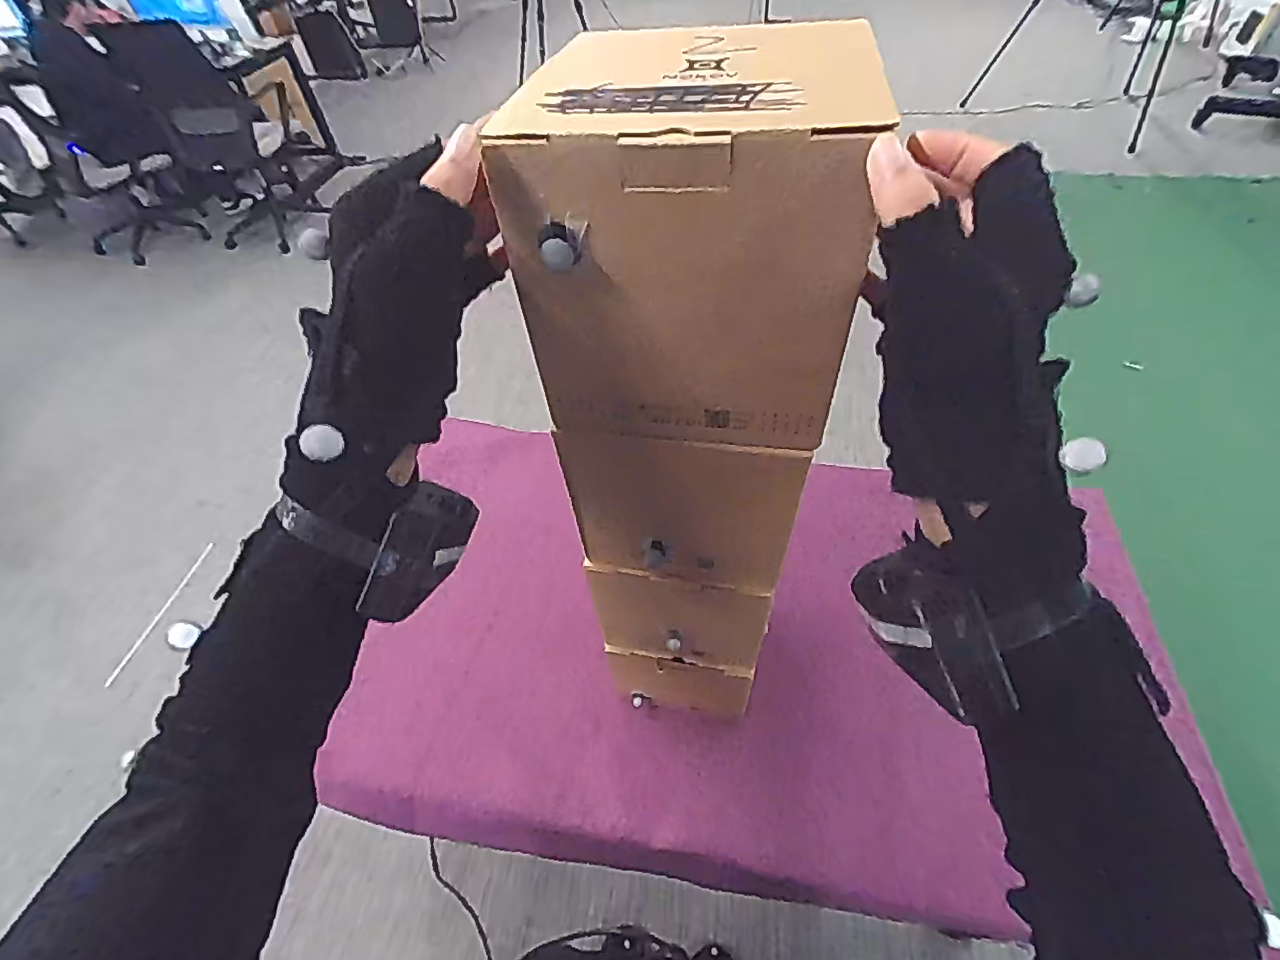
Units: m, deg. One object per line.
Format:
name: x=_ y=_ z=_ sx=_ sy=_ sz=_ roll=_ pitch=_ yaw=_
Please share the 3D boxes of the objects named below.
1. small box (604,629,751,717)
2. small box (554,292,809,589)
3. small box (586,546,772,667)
small box: x=0.063 y=0.185 z=0.699 sx=0.168 sy=0.176 sz=0.179 roll=7 pitch=51 yaw=11
small box: x=0.043 y=-0.034 z=0.457 sx=0.168 sy=0.176 sz=0.179 roll=7 pitch=51 yaw=11
small box: x=0.052 y=0.074 z=0.579 sx=0.168 sy=0.176 sz=0.179 roll=7 pitch=51 yaw=11
